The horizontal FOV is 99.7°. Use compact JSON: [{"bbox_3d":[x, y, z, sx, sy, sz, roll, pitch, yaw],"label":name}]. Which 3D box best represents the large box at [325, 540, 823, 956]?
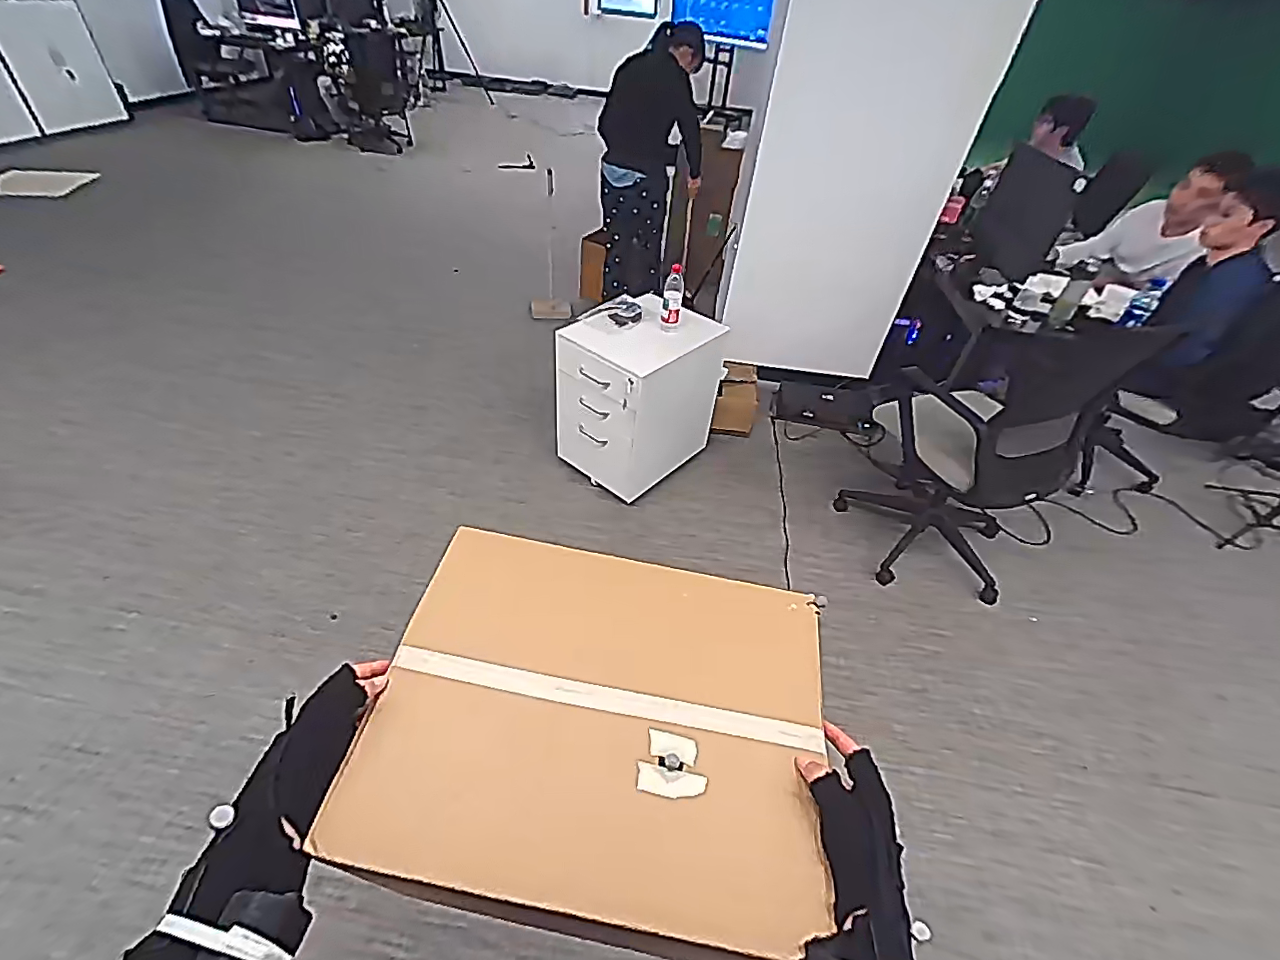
[{"bbox_3d":[-0.048,0.311,0.626,0.408,0.320,0.320,11,49,2],"label":"large box"}]
